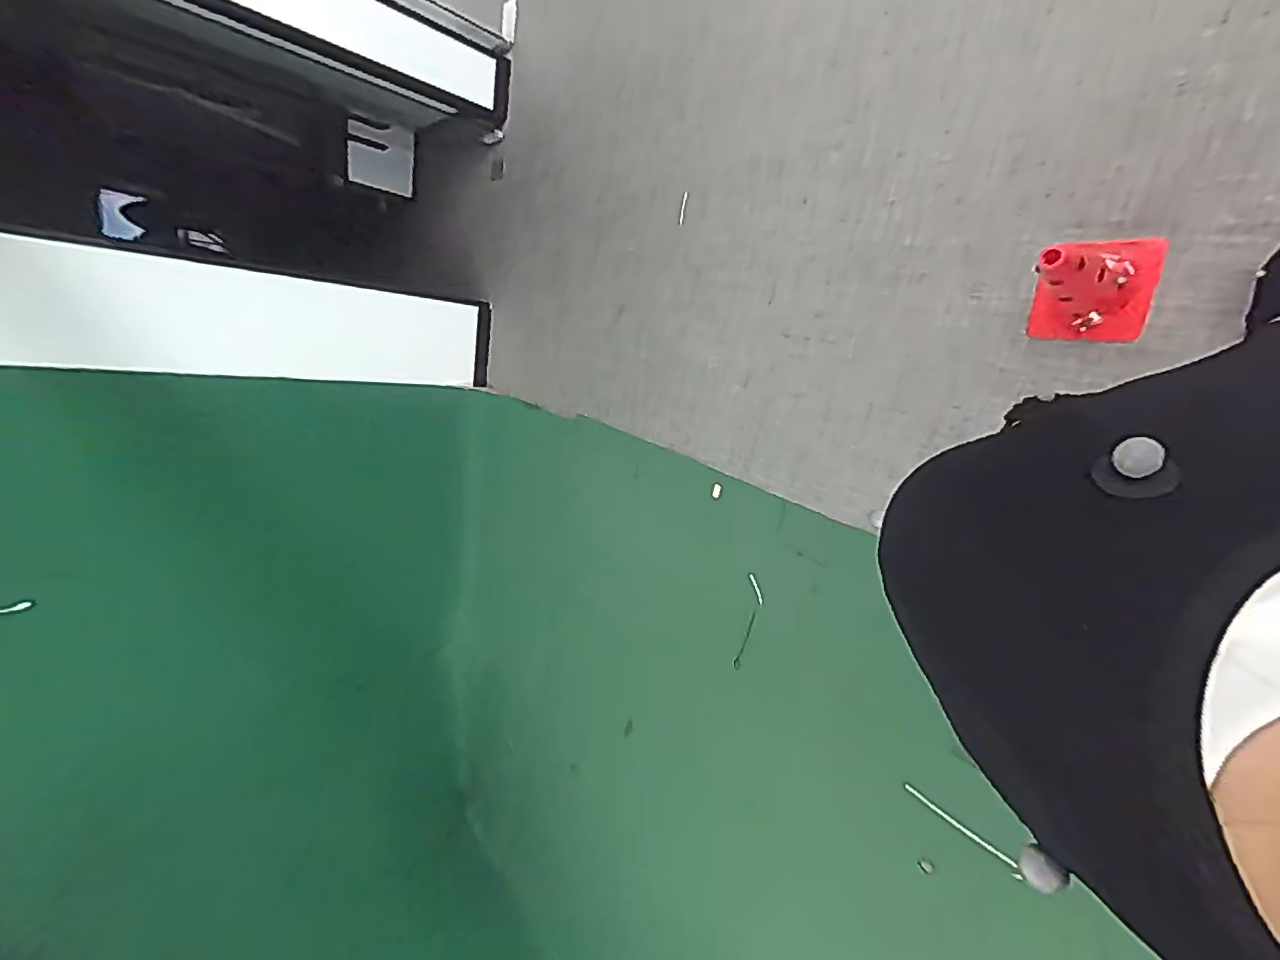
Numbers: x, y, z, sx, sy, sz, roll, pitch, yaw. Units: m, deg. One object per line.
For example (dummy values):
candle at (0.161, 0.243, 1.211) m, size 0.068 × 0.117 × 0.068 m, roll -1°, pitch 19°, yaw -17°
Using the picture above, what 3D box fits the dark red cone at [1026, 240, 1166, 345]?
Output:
dark red cone at (0.820, -0.372, 1.016) m, size 0.202 × 0.394 × 0.201 m, roll 18°, pitch 108°, yaw 46°
